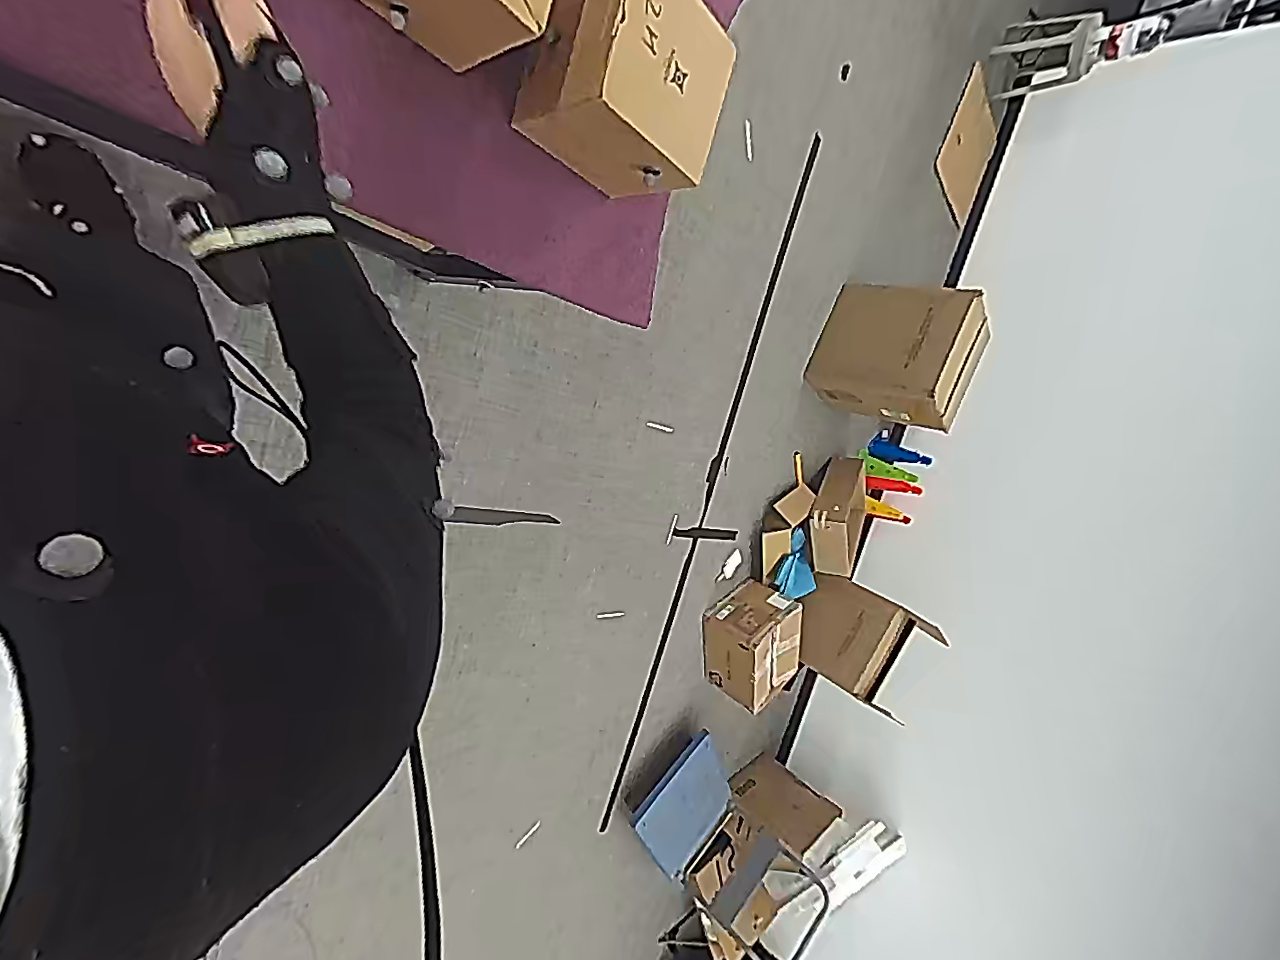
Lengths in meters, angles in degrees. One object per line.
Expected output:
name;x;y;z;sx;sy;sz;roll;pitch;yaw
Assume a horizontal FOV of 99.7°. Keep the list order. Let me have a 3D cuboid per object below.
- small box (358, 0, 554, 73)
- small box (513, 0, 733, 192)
small box;-0.178;-0.514;0.473;0.179;0.176;0.168;11;98;-47
small box;-0.021;-0.474;0.657;0.179;0.176;0.168;11;97;-48
